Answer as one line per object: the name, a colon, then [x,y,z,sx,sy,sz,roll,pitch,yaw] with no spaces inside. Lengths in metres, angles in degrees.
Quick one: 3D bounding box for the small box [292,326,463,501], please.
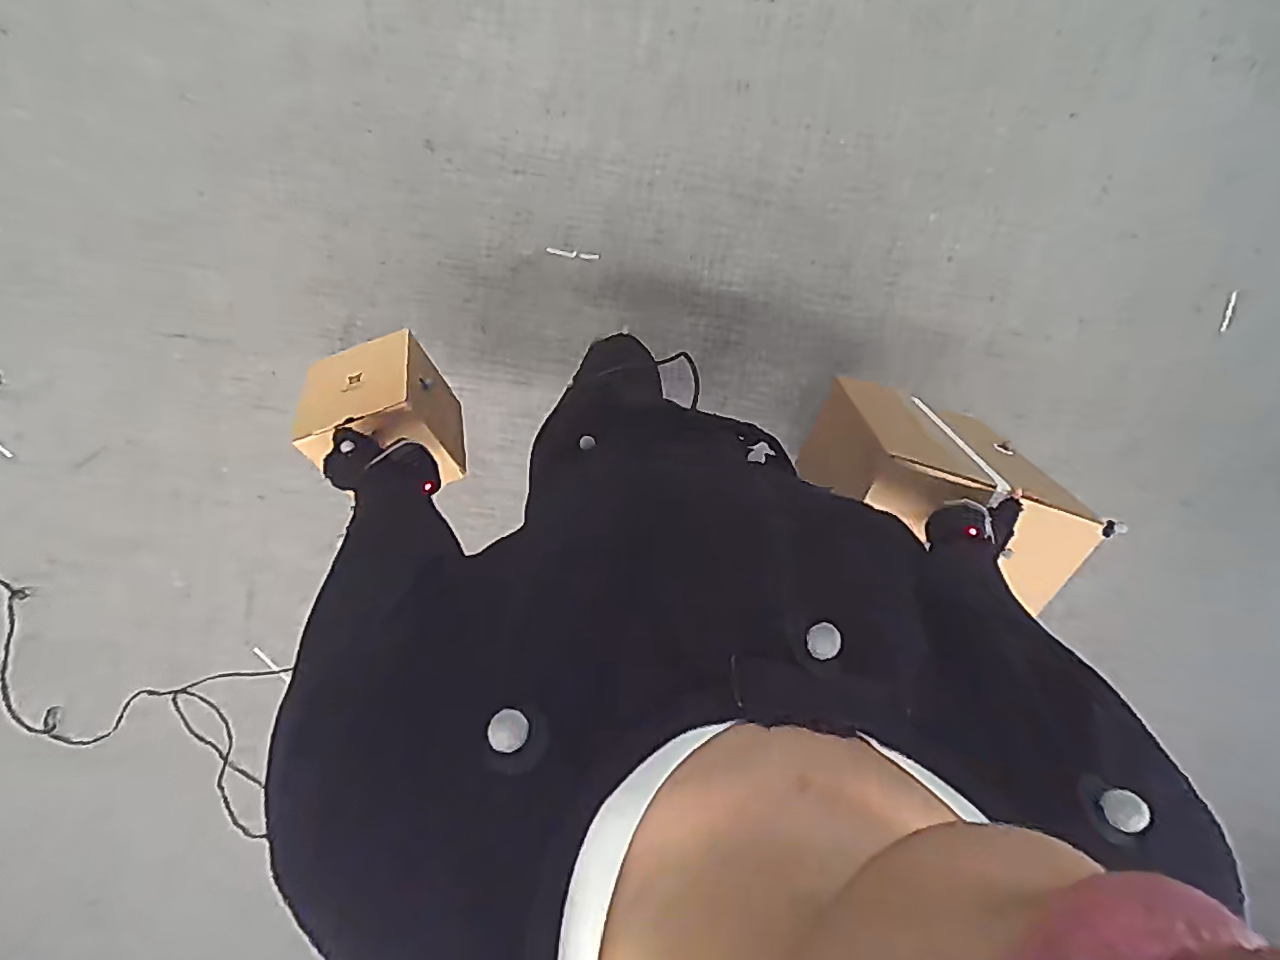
small box: [-0.388,-0.098,0.831,0.168,0.179,0.176,-20,142,1]
